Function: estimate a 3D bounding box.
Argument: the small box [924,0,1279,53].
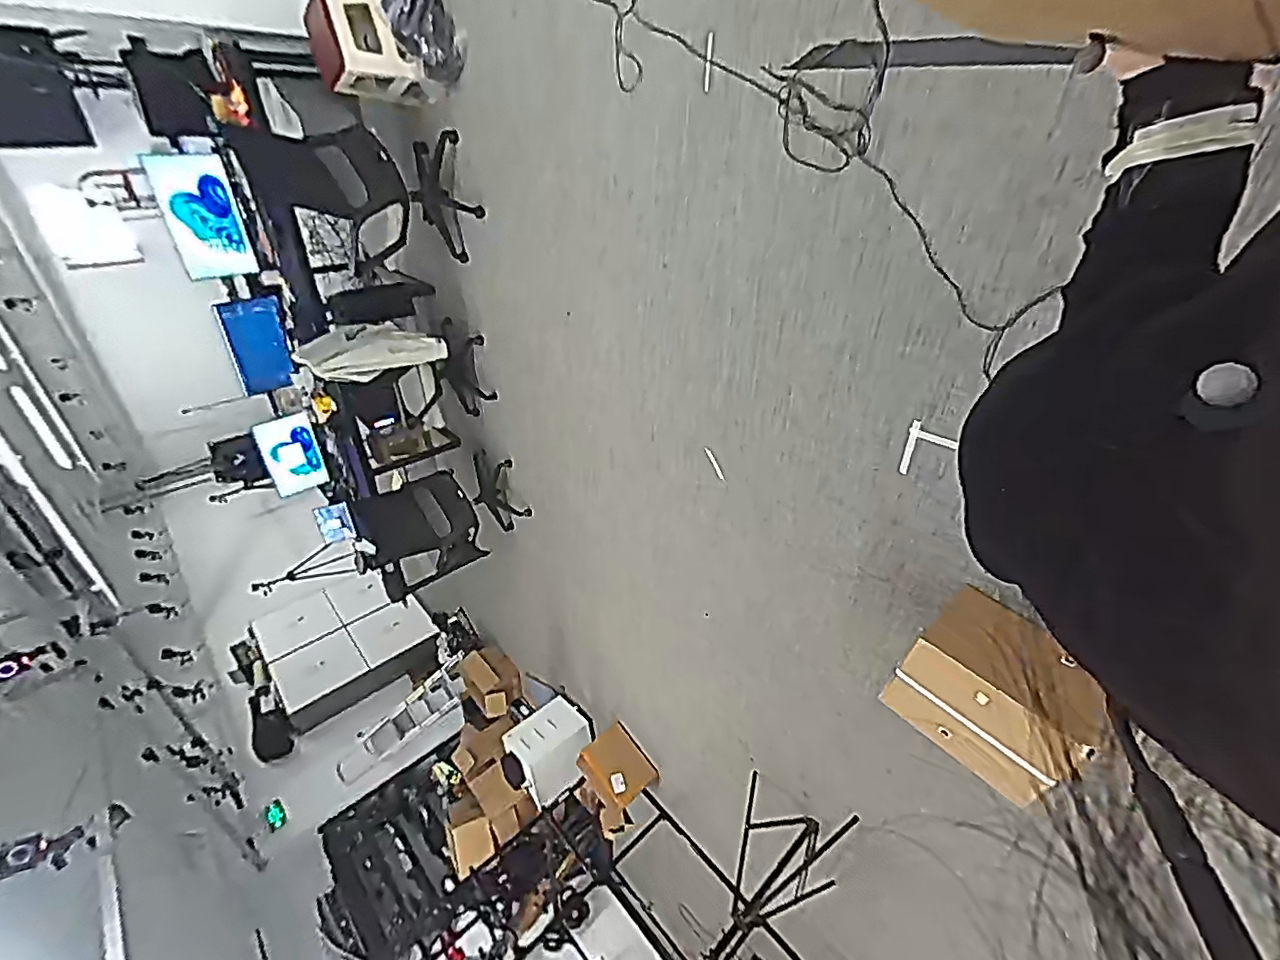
[{"bbox_3d":[0.267,-0.331,0.265,0.179,0.176,0.168,41,135,35],"label":"small box"}]
